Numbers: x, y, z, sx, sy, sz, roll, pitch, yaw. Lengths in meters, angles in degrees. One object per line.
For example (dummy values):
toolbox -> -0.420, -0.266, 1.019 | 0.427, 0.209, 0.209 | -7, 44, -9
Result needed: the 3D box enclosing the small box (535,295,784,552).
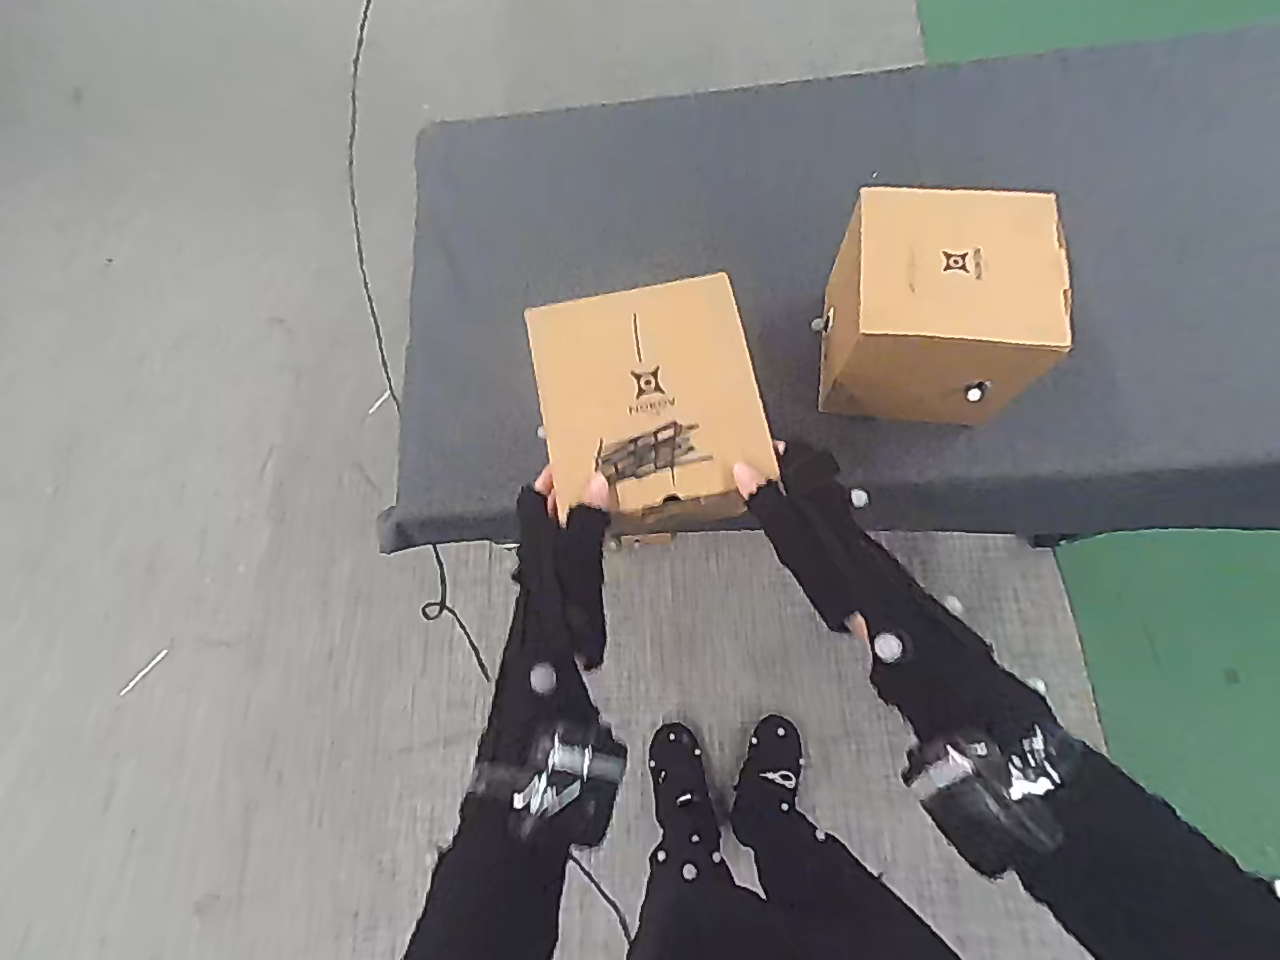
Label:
small box -> 0.015, -0.033, 0.488 | 0.168, 0.176, 0.179 | -11, 78, -1
